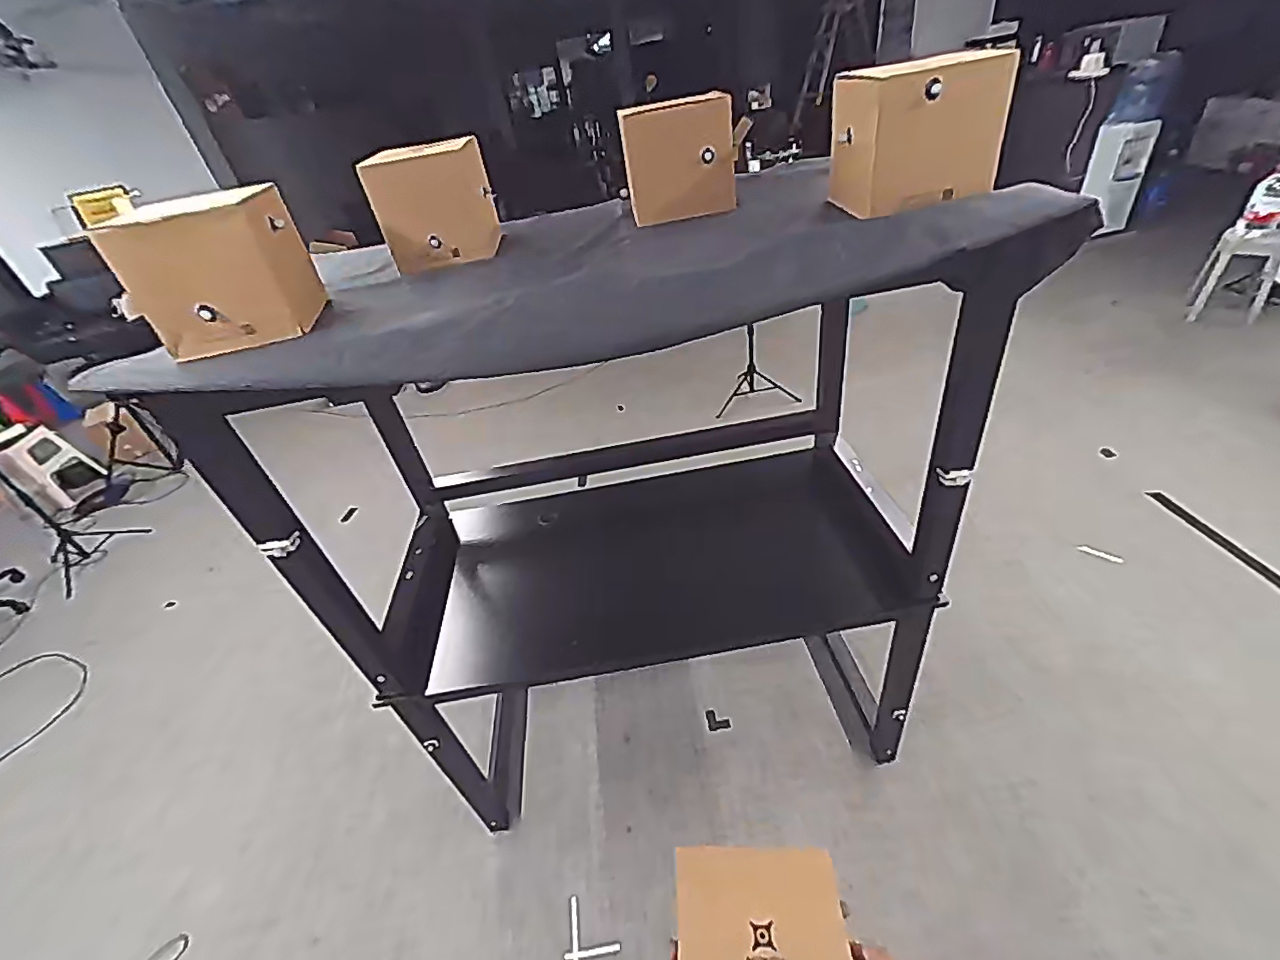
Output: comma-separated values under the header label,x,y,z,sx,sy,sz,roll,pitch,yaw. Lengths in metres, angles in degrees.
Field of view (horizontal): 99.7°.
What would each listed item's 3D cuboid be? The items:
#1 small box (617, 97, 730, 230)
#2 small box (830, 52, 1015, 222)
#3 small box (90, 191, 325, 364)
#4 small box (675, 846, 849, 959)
label,x,y,z,sx,sy,sz,roll,pitch,yaw
small box,0.059,-0.557,0.952,0.179,0.176,0.168,-9,36,2
small box,0.373,-0.472,0.755,0.168,0.176,0.179,-9,36,4
small box,-0.562,-0.279,0.740,0.168,0.176,0.179,-16,38,-8
small box,0.120,0.513,0.560,0.168,0.176,0.179,-3,36,4
